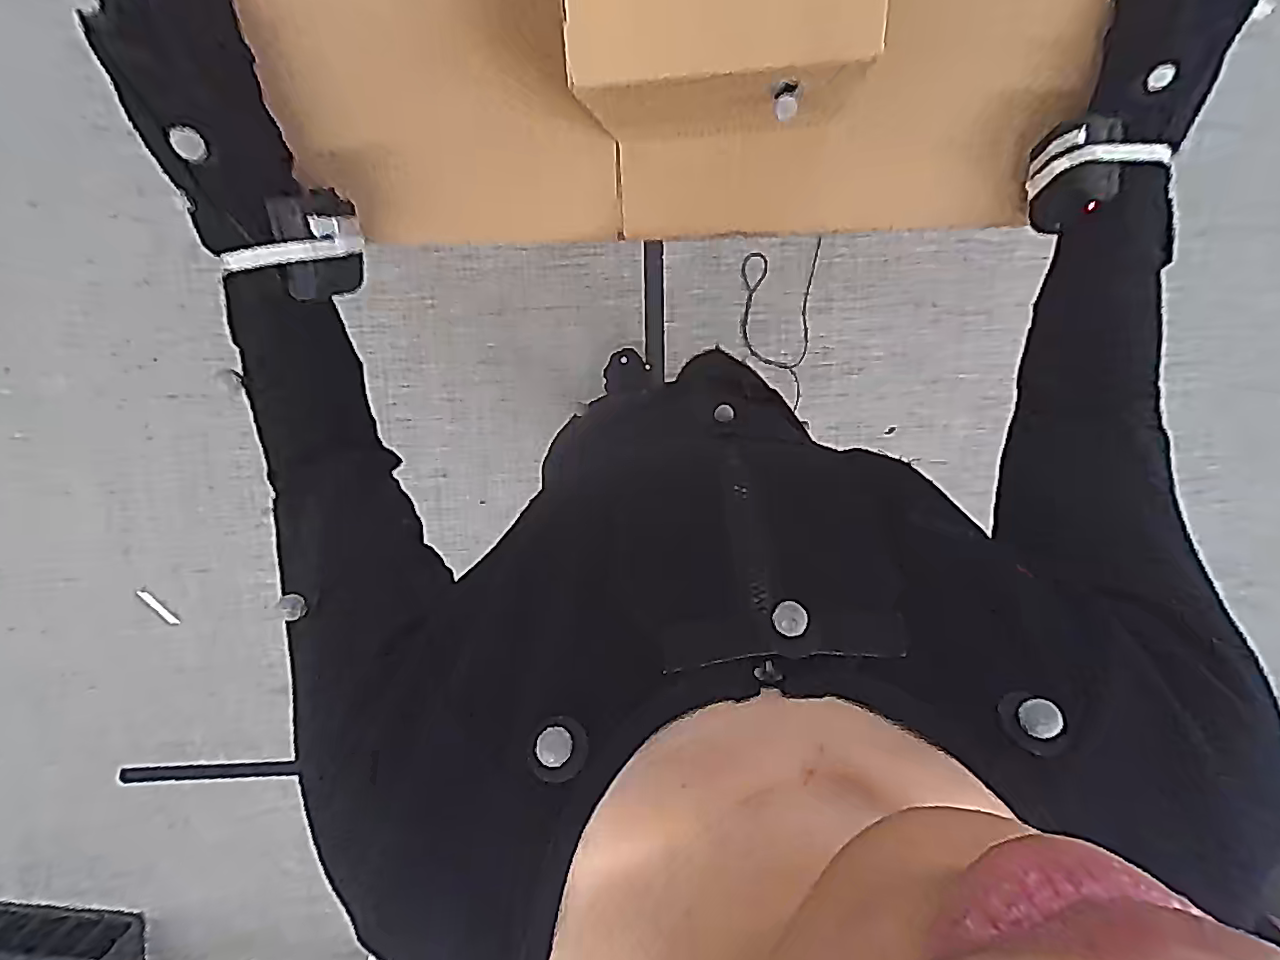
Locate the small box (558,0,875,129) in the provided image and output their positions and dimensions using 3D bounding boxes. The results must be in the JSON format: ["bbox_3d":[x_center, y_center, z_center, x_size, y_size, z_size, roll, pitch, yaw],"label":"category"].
[{"bbox_3d":[0.050,-0.344,0.350,0.179,0.176,0.168,2,112,10],"label":"small box"}]
